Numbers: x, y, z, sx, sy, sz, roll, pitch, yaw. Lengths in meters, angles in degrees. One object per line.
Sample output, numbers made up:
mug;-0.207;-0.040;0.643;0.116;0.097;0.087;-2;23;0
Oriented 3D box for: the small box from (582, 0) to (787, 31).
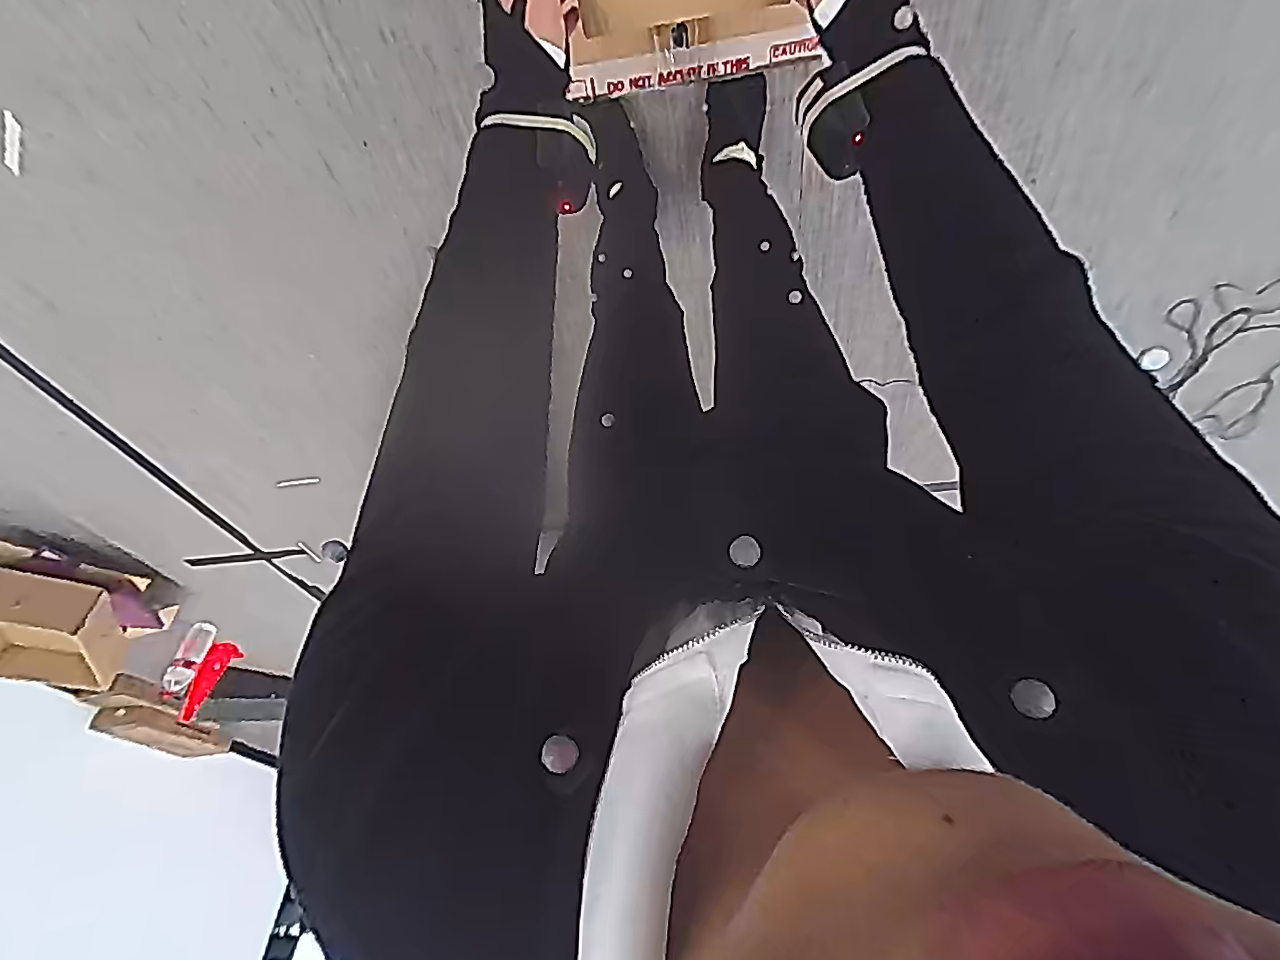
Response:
small box;0.025;-0.484;0.414;0.168;0.176;0.179;-6;141;5
